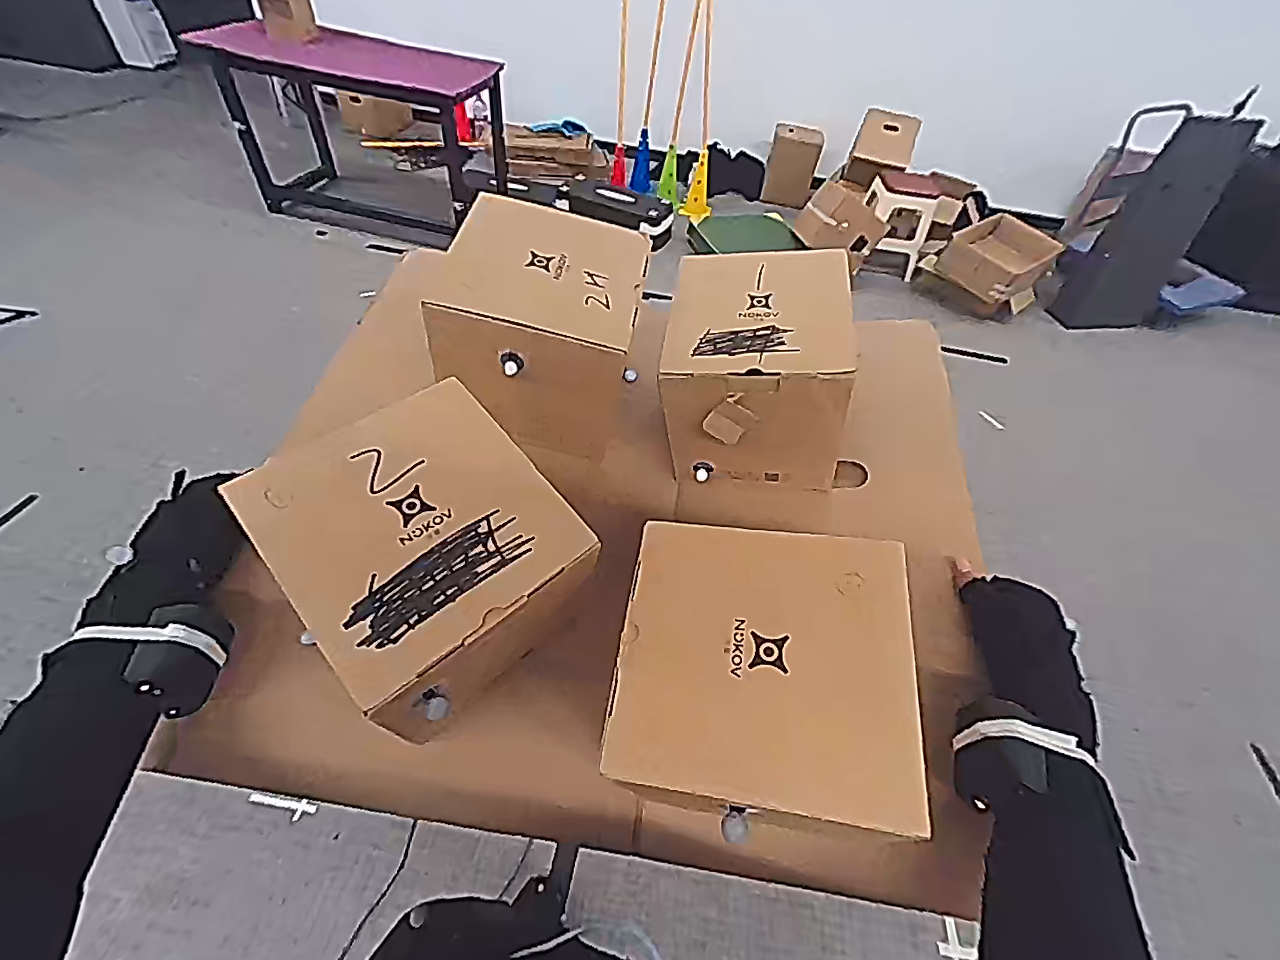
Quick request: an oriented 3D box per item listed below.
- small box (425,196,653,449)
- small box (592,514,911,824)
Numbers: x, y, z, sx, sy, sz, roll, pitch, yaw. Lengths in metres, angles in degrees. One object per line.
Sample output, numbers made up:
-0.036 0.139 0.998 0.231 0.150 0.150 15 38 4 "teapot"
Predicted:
-0.098 -0.153 0.563 0.179 0.176 0.168 14 58 -5 "small box"
0.083 0.143 0.403 0.179 0.176 0.168 4 57 14 "small box"
